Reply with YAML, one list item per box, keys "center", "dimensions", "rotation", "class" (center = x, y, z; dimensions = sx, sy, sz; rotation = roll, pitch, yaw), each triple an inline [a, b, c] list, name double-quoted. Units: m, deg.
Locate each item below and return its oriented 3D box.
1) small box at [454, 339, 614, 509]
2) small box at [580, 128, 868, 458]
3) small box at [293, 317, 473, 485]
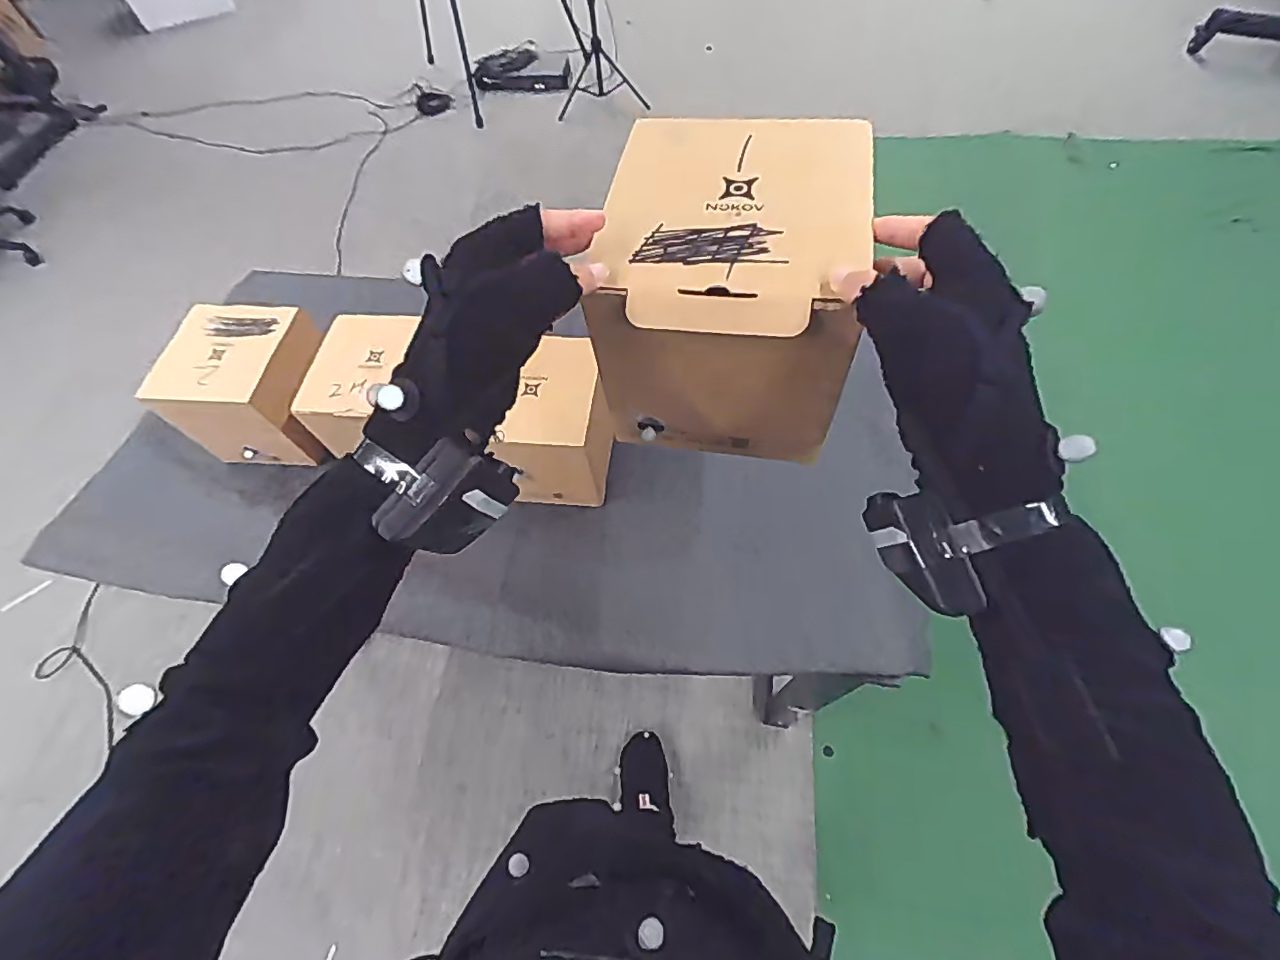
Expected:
- center: [-0.133, -0.073, 0.757]
  dimensions: [0.168, 0.176, 0.179]
  rotation: [4, 60, 6]
  class: "small box"
- center: [0.067, -0.135, 0.415]
  dimensions: [0.168, 0.176, 0.179]
  rotation: [7, 62, 10]
  class: "small box"
- center: [-0.351, -0.113, 0.792]
  dimensions: [0.168, 0.176, 0.179]
  rotation: [3, 60, 6]
  class: "small box"
